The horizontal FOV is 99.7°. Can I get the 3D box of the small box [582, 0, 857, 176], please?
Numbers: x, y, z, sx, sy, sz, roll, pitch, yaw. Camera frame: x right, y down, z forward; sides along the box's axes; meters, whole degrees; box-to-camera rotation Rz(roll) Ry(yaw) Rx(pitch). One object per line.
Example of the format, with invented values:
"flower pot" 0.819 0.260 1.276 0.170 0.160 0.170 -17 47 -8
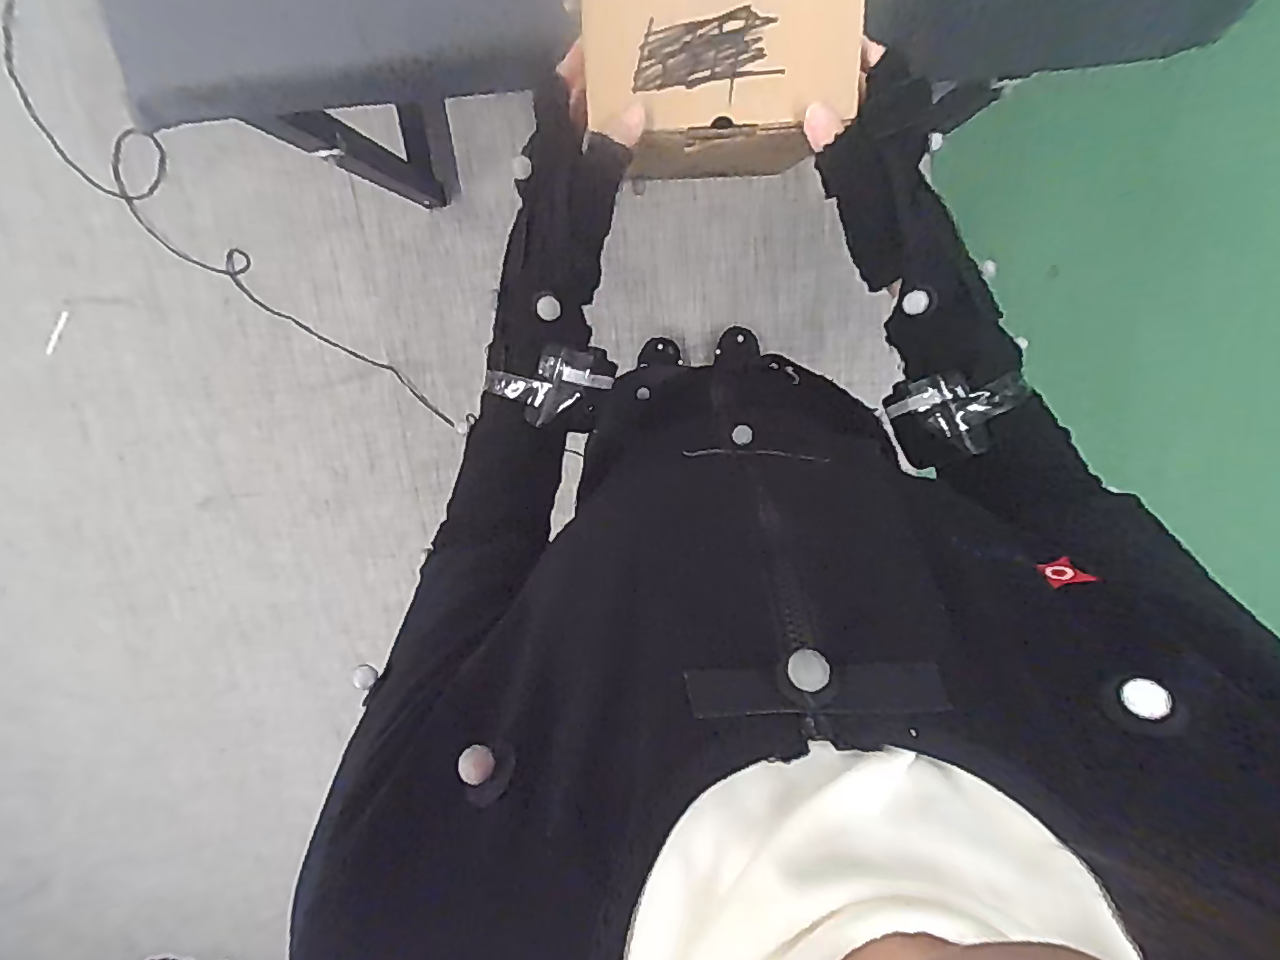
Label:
"small box" 0.046 -0.327 0.387 0.168 0.176 0.179 -2 110 0
